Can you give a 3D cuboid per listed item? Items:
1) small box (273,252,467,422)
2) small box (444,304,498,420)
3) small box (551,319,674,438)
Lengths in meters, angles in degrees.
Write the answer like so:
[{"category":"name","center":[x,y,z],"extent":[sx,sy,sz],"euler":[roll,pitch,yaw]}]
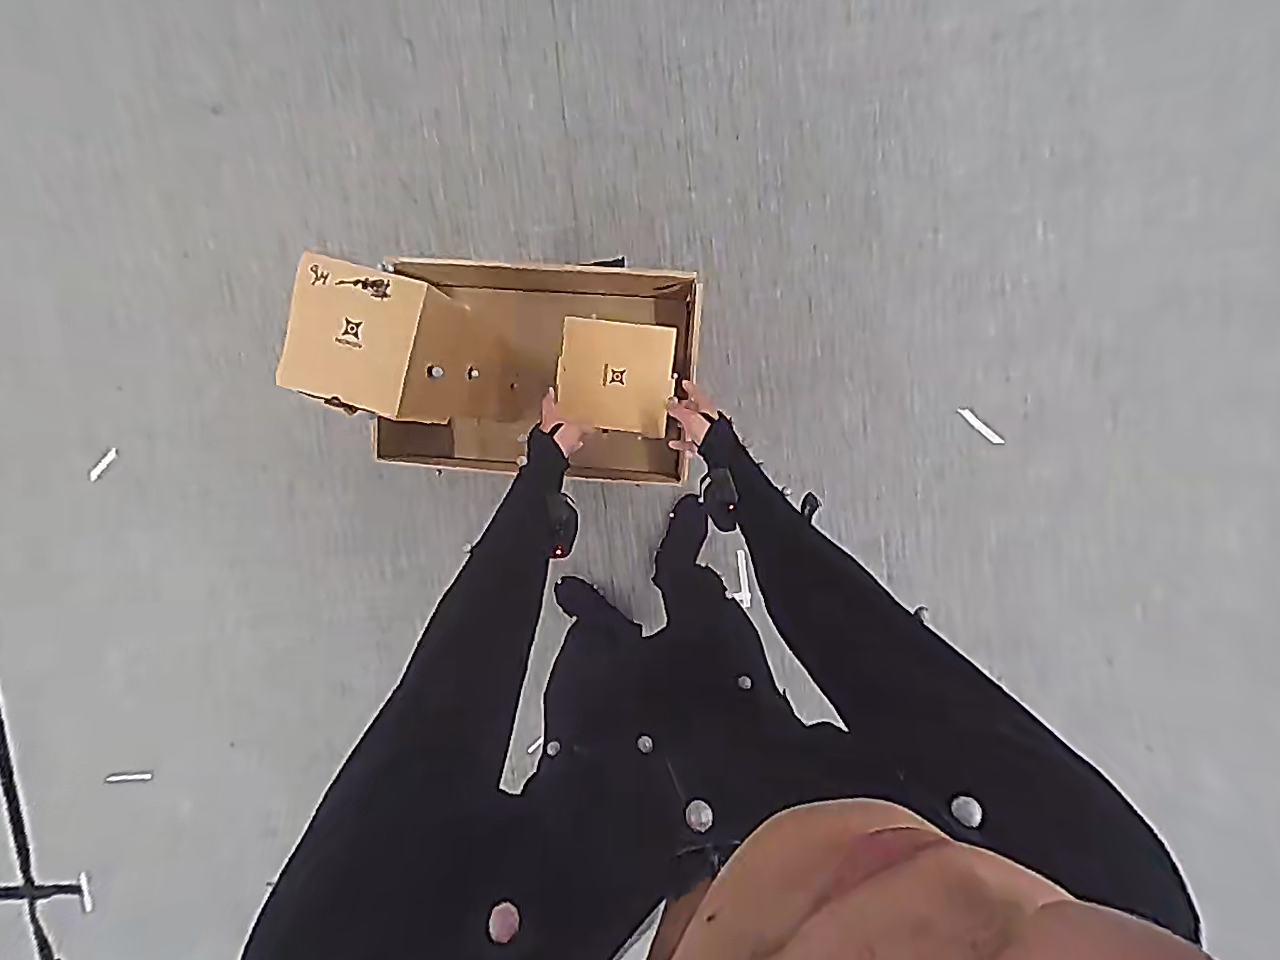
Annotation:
[{"category":"small box","center":[-0.360,-0.184,0.752],"extent":[0.168,0.176,0.179],"euler":[15,95,1]},{"category":"small box","center":[-0.354,-0.201,0.915],"extent":[0.168,0.176,0.179],"euler":[12,94,2]},{"category":"small box","center":[-0.040,-0.161,0.905],"extent":[0.179,0.176,0.168],"euler":[7,94,3]}]
